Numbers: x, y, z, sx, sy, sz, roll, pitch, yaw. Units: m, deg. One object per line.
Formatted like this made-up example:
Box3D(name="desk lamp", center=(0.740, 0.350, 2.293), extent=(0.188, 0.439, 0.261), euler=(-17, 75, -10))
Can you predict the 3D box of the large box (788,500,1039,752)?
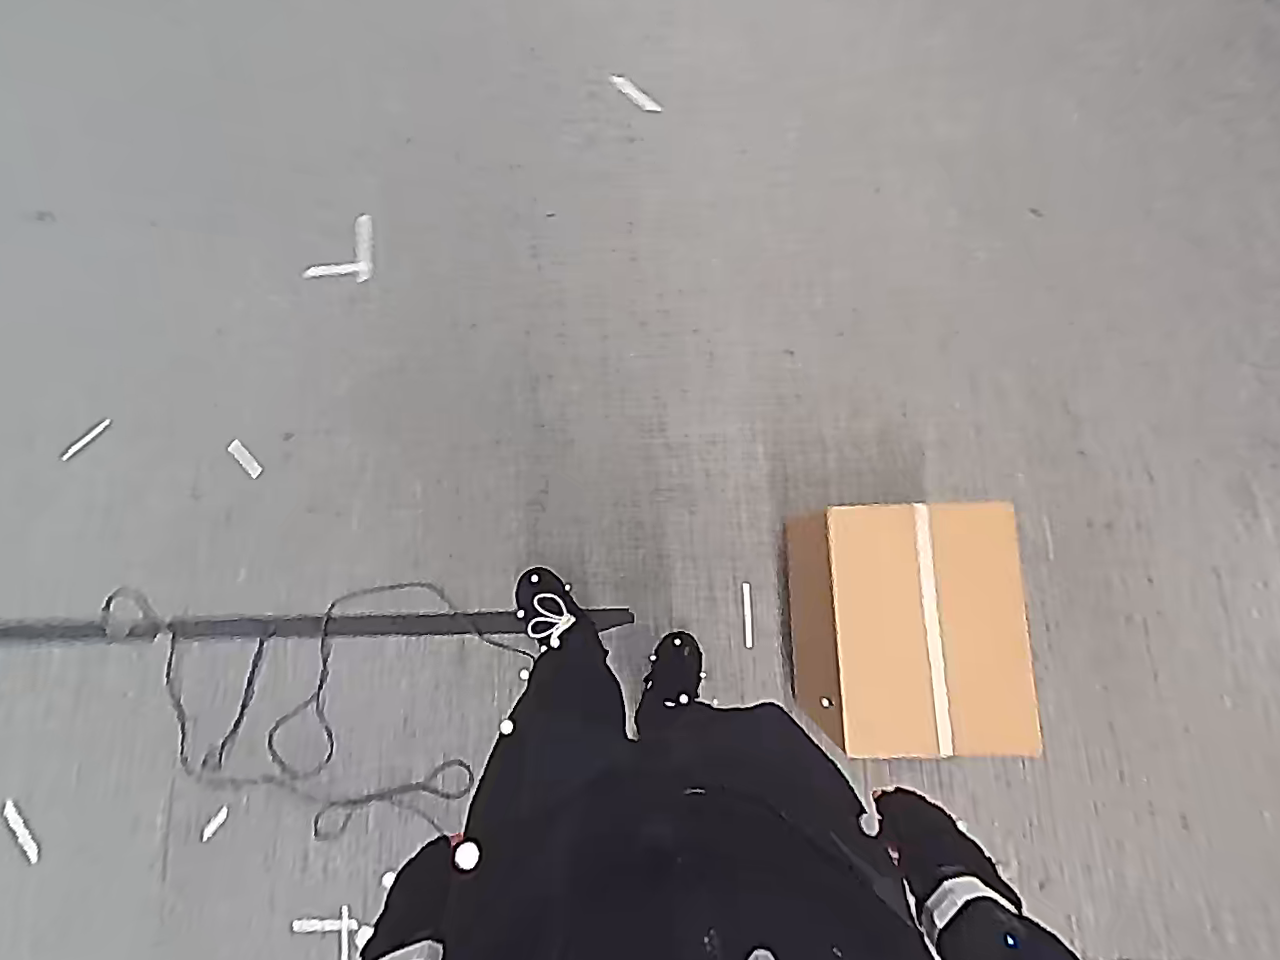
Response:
Box3D(name="large box", center=(0.483, 0.260, 1.042), extent=(0.320, 0.320, 0.408), euler=(-2, 81, 1))
